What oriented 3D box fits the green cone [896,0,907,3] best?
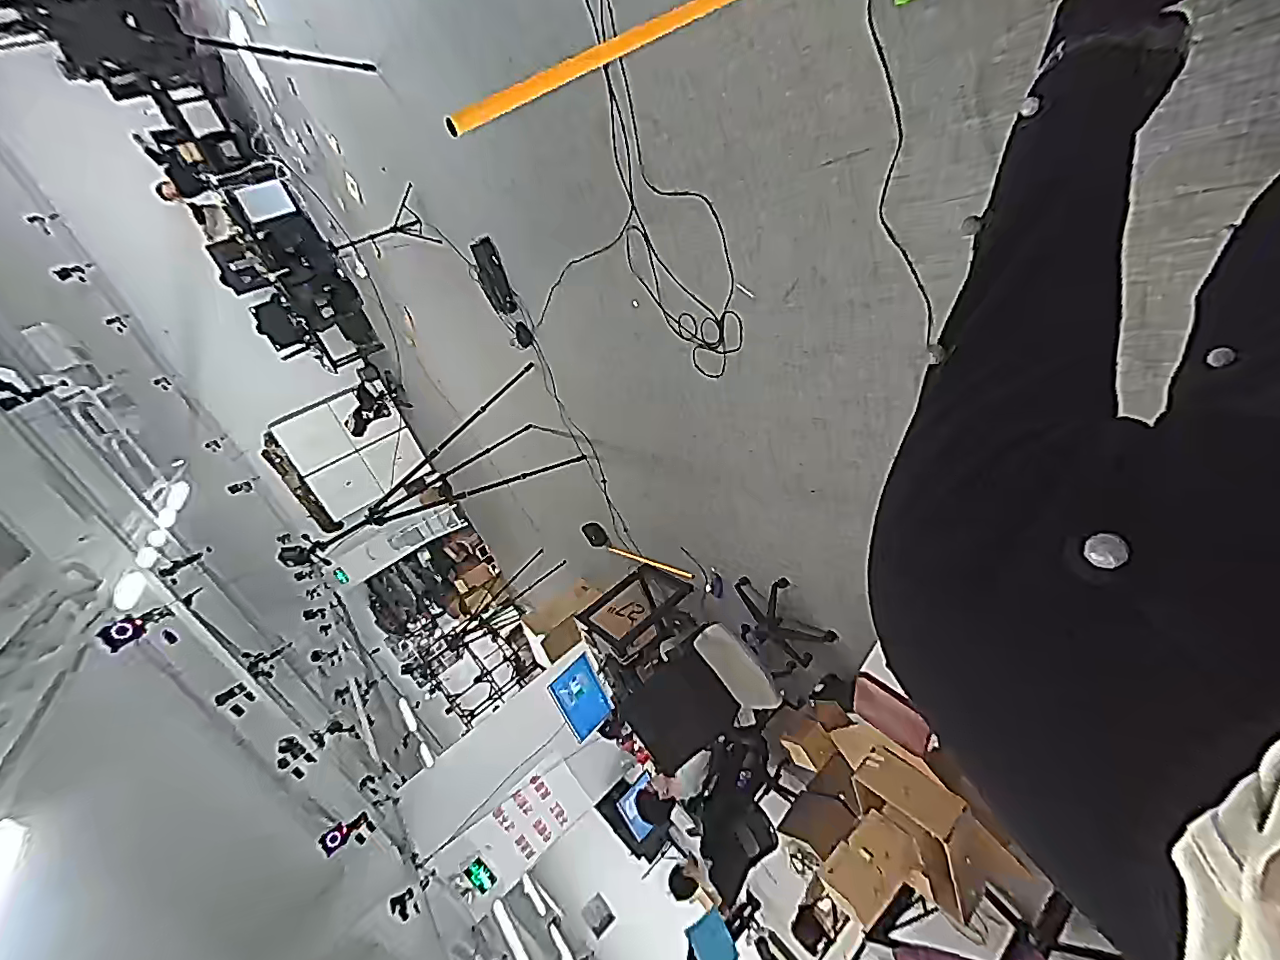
[{"bbox_3d":[0.490,-1.100,1.090,0.202,0.368,0.200,15,134,56],"label":"green cone"}]
